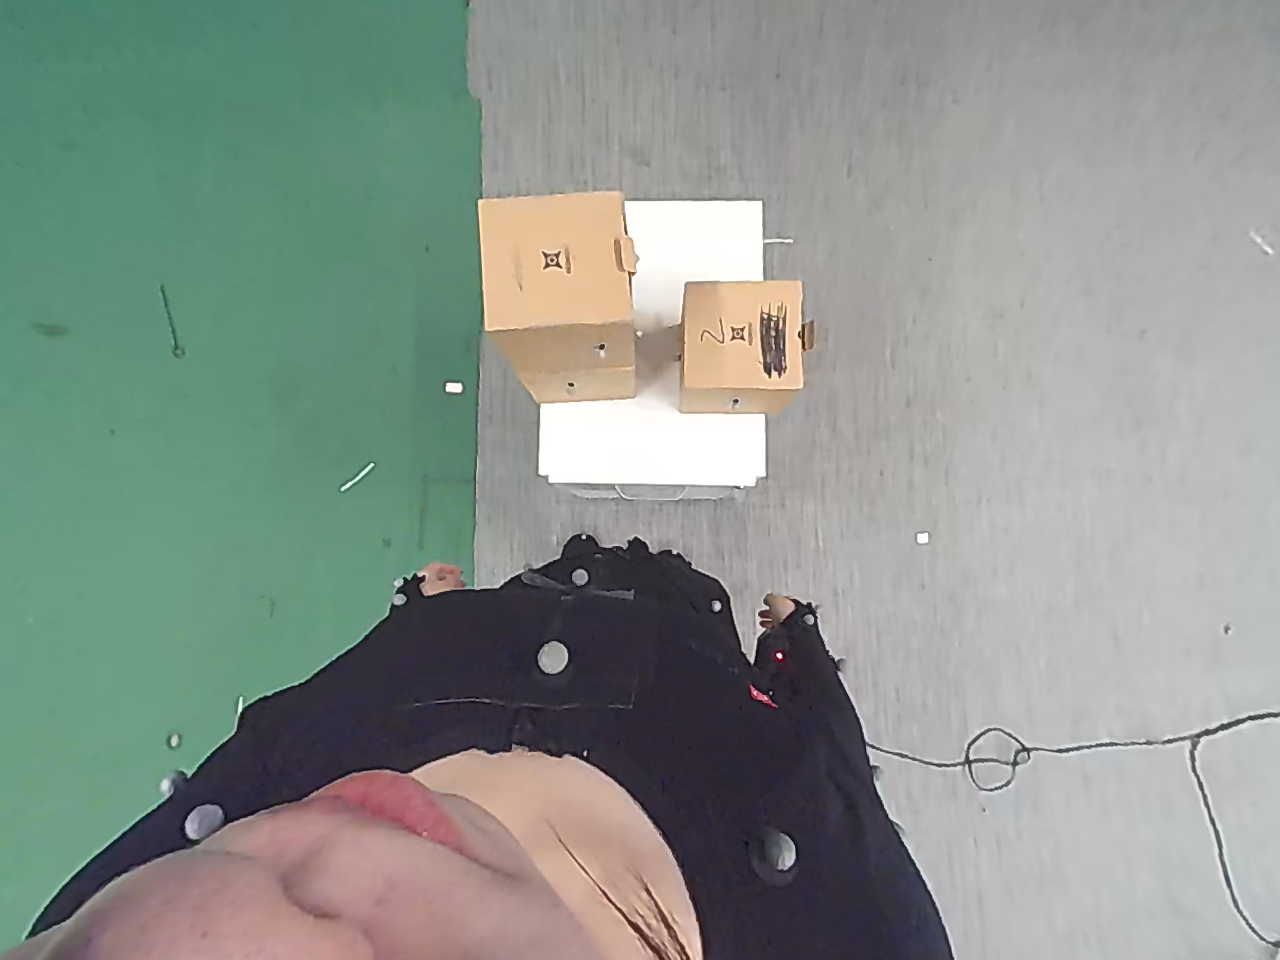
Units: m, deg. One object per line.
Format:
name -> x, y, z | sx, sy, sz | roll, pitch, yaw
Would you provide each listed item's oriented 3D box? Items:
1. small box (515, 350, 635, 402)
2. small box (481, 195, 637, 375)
small box -> -0.100, -0.228, 0.879 | 0.179, 0.176, 0.168 | -3, 85, -1
small box -> -0.099, -0.247, 0.717 | 0.179, 0.176, 0.168 | -5, 83, -1
